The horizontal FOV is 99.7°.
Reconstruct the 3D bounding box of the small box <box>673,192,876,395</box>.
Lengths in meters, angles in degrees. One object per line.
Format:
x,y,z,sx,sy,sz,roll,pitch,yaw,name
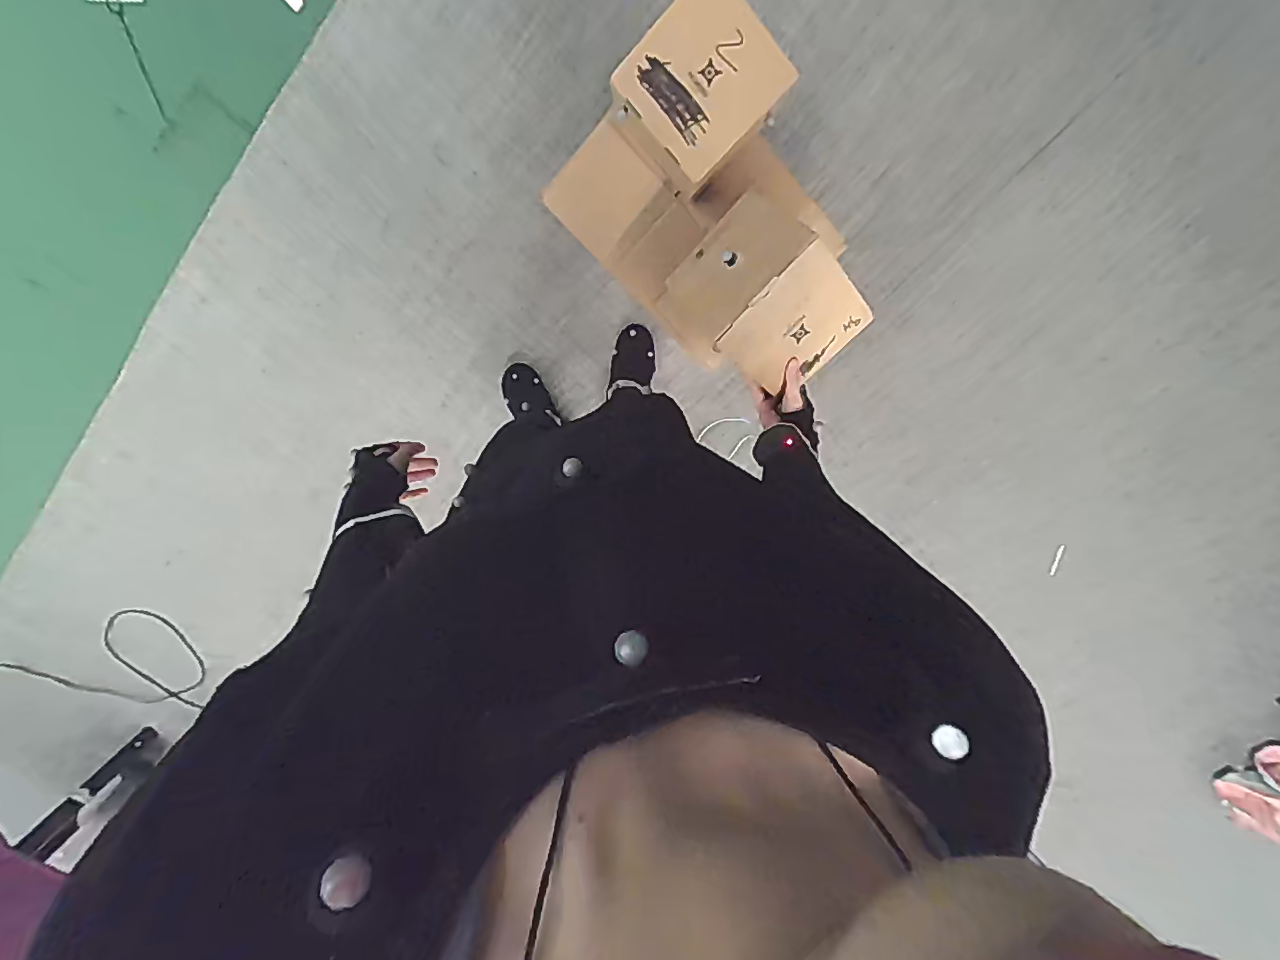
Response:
0.172,-0.254,0.729,0.168,0.176,0.179,-43,136,21,small box
